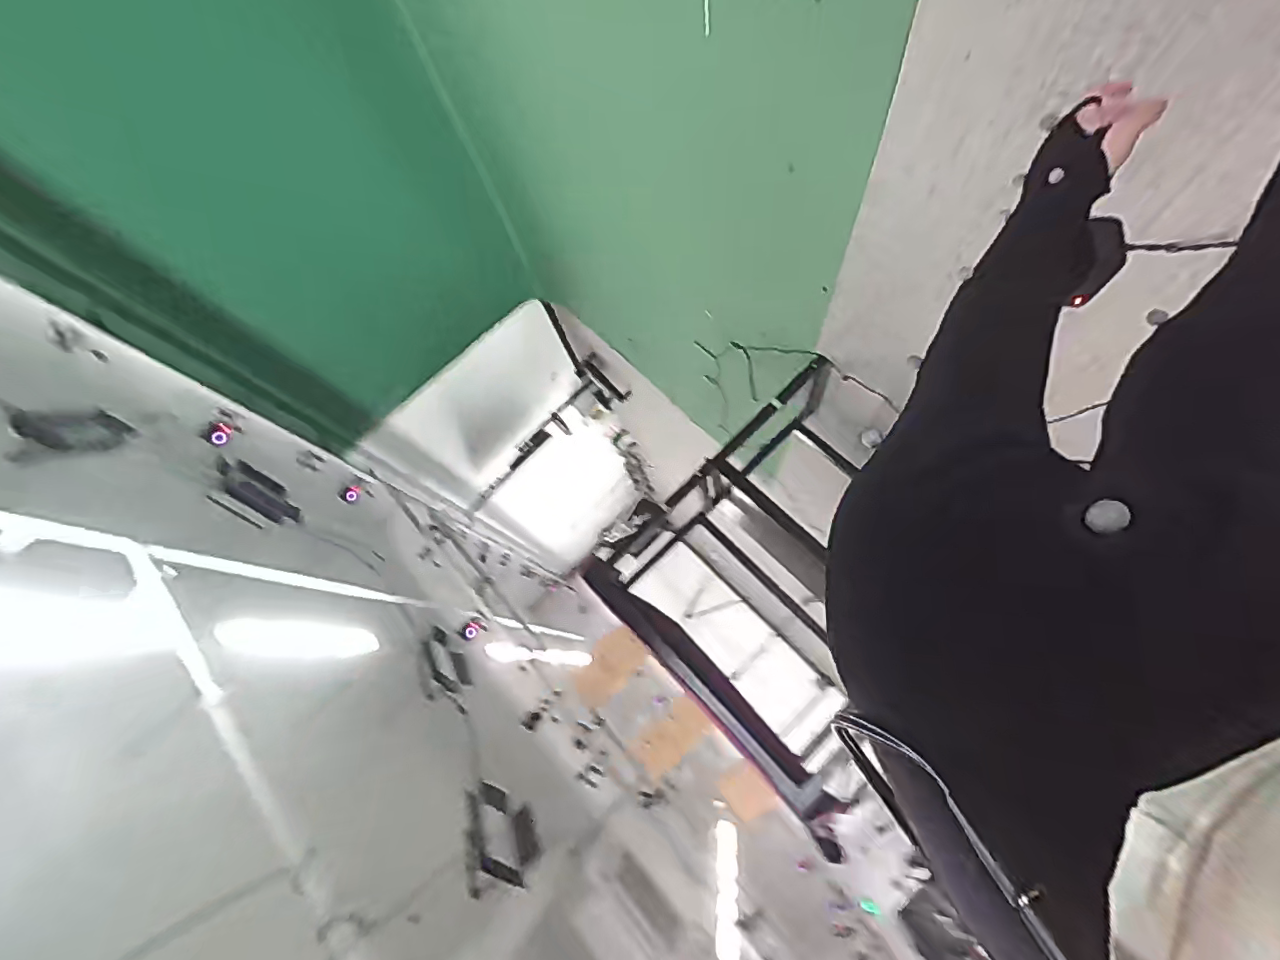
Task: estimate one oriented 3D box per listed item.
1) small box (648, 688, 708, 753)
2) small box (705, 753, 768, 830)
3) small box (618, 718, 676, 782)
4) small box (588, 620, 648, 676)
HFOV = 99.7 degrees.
[{"bbox_3d":[0.157,0.965,2.191,0.179,0.176,0.168,45,173,20],"label":"small box"},{"bbox_3d":[0.372,1.182,2.063,0.179,0.176,0.168,46,172,24],"label":"small box"},{"bbox_3d":[0.038,1.076,2.178,0.168,0.176,0.179,46,173,21],"label":"small box"},{"bbox_3d":[-0.089,0.716,2.321,0.179,0.176,0.168,46,174,21],"label":"small box"}]
